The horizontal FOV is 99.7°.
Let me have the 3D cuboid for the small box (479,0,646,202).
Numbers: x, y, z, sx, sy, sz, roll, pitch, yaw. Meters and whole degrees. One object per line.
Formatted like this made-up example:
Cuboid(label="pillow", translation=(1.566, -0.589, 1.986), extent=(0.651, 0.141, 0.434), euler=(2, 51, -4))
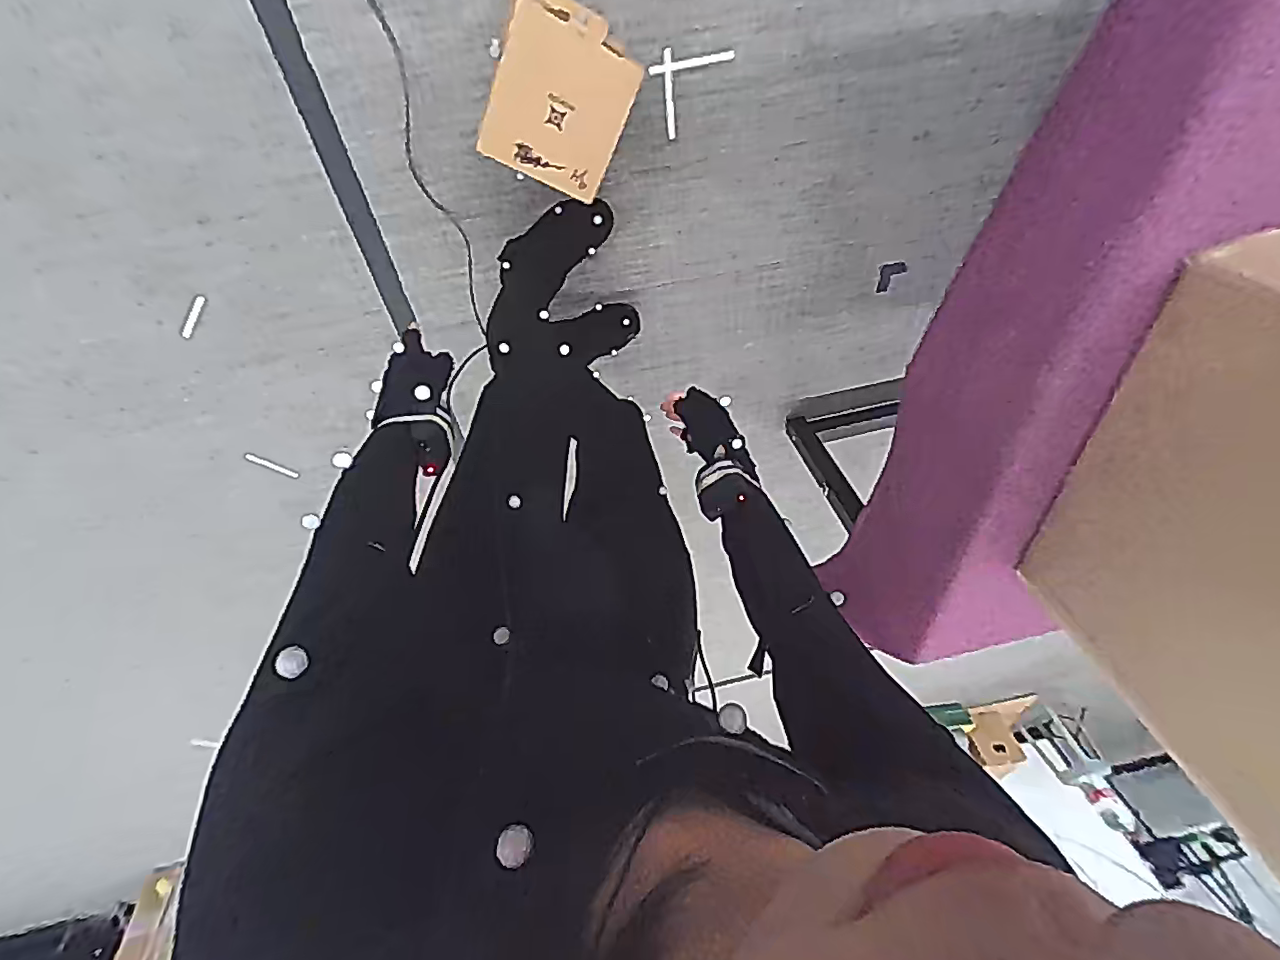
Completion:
Cuboid(label="small box", translation=(-0.115, -0.523, 0.738), extent=(0.168, 0.176, 0.179), euler=(15, 127, -25))
